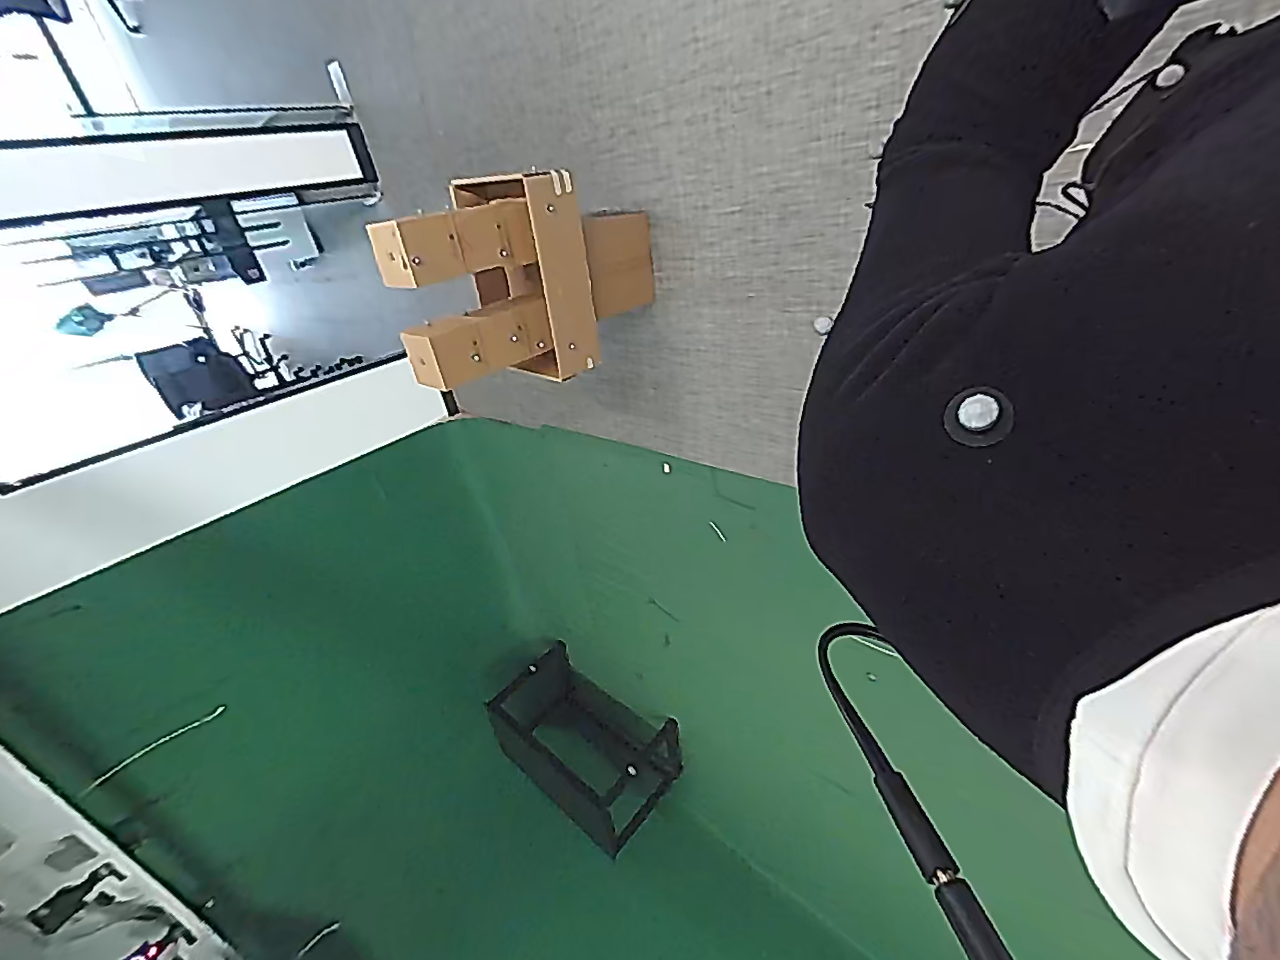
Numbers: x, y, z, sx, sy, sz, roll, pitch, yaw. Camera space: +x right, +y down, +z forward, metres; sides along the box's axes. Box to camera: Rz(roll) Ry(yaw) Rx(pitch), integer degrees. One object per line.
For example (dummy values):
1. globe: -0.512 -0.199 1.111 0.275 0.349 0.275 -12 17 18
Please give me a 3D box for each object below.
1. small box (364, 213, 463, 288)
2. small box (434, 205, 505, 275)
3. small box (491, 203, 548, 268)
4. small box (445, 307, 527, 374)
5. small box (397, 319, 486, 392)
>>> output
1. small box: -0.622 -0.636 1.497 0.179 0.176 0.168 17 128 38
2. small box: -0.520 -0.710 1.602 0.179 0.176 0.168 17 127 38
3. small box: -0.417 -0.777 1.712 0.179 0.176 0.168 21 129 35
4. small box: -0.496 -0.457 1.753 0.179 0.176 0.168 18 129 38
5. small box: -0.602 -0.386 1.651 0.179 0.176 0.168 19 130 38
